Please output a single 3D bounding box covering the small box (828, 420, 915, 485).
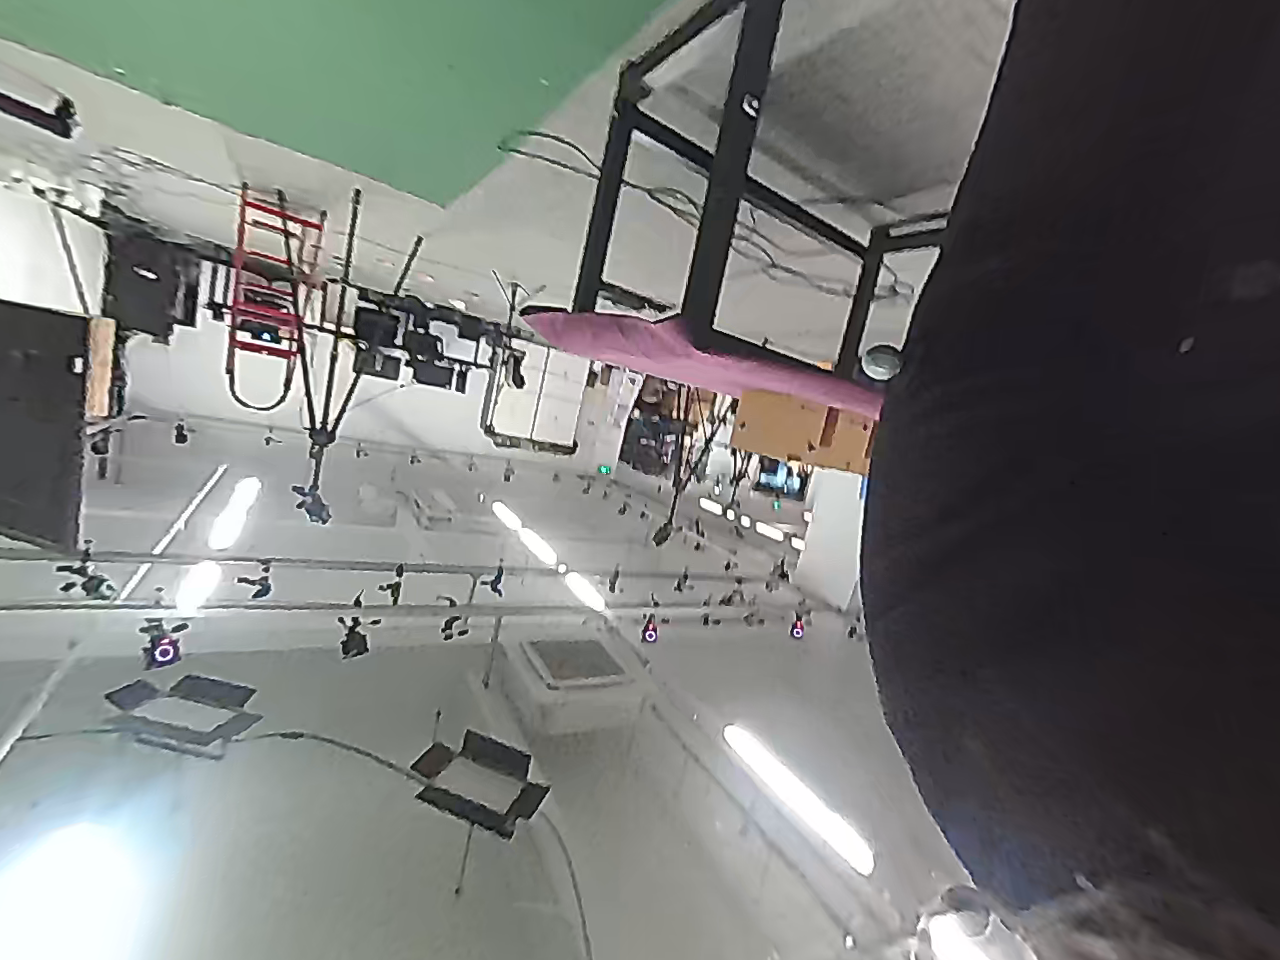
[{"bbox_3d":[0.738,-0.093,1.724,0.168,0.176,0.179,8,-172,-33],"label":"small box"}]
